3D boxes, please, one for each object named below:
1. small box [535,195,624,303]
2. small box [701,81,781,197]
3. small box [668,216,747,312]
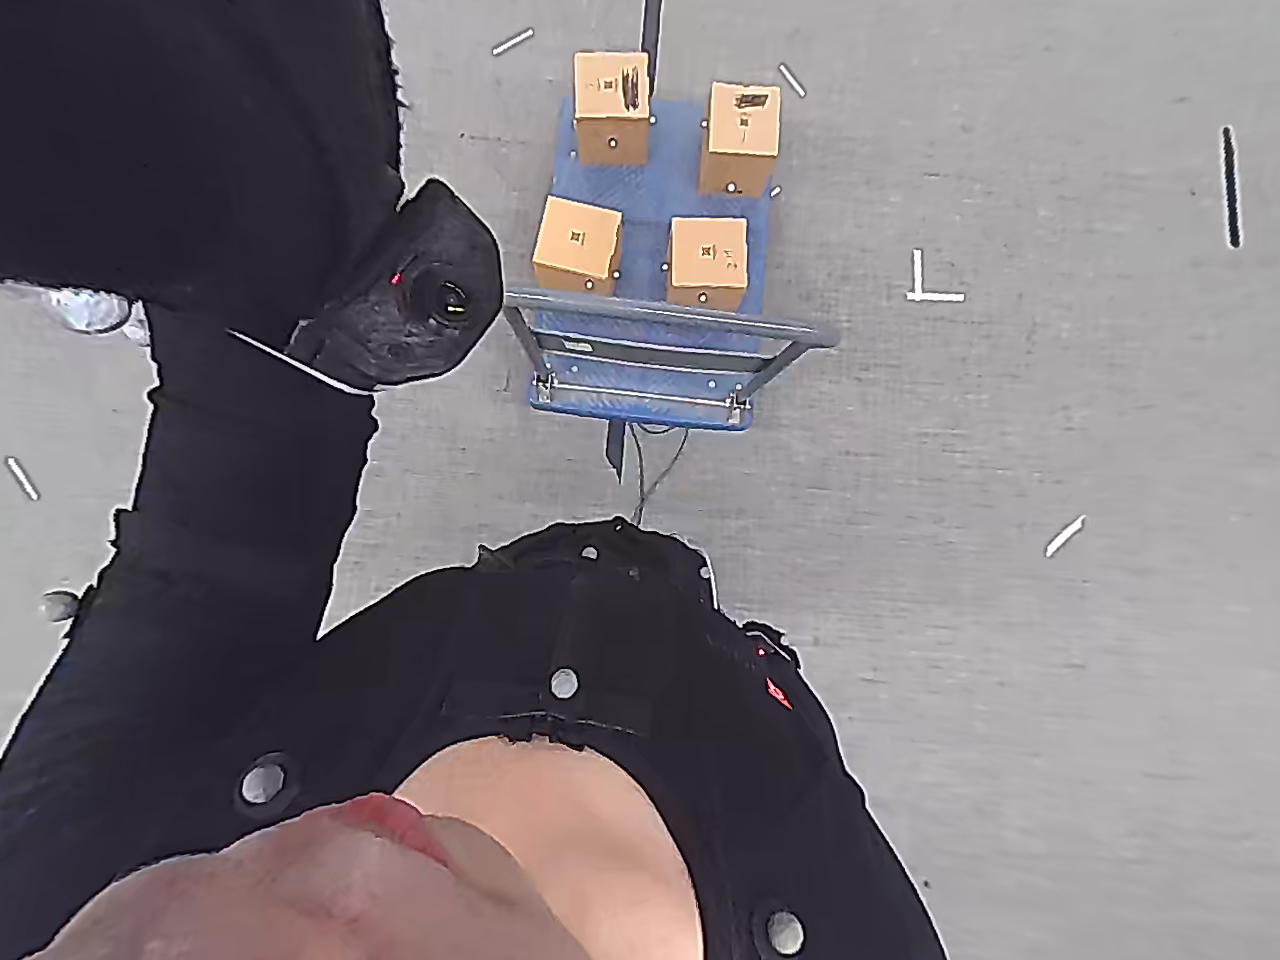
[{"bbox_3d":[-0.143,-0.553,1.317,0.179,0.176,0.168,12,84,-2],"label":"small box"},{"bbox_3d":[0.247,-0.848,1.355,0.168,0.176,0.179,3,86,-1],"label":"small box"},{"bbox_3d":[0.159,-0.521,1.325,0.179,0.176,0.168,1,85,-2],"label":"small box"}]
